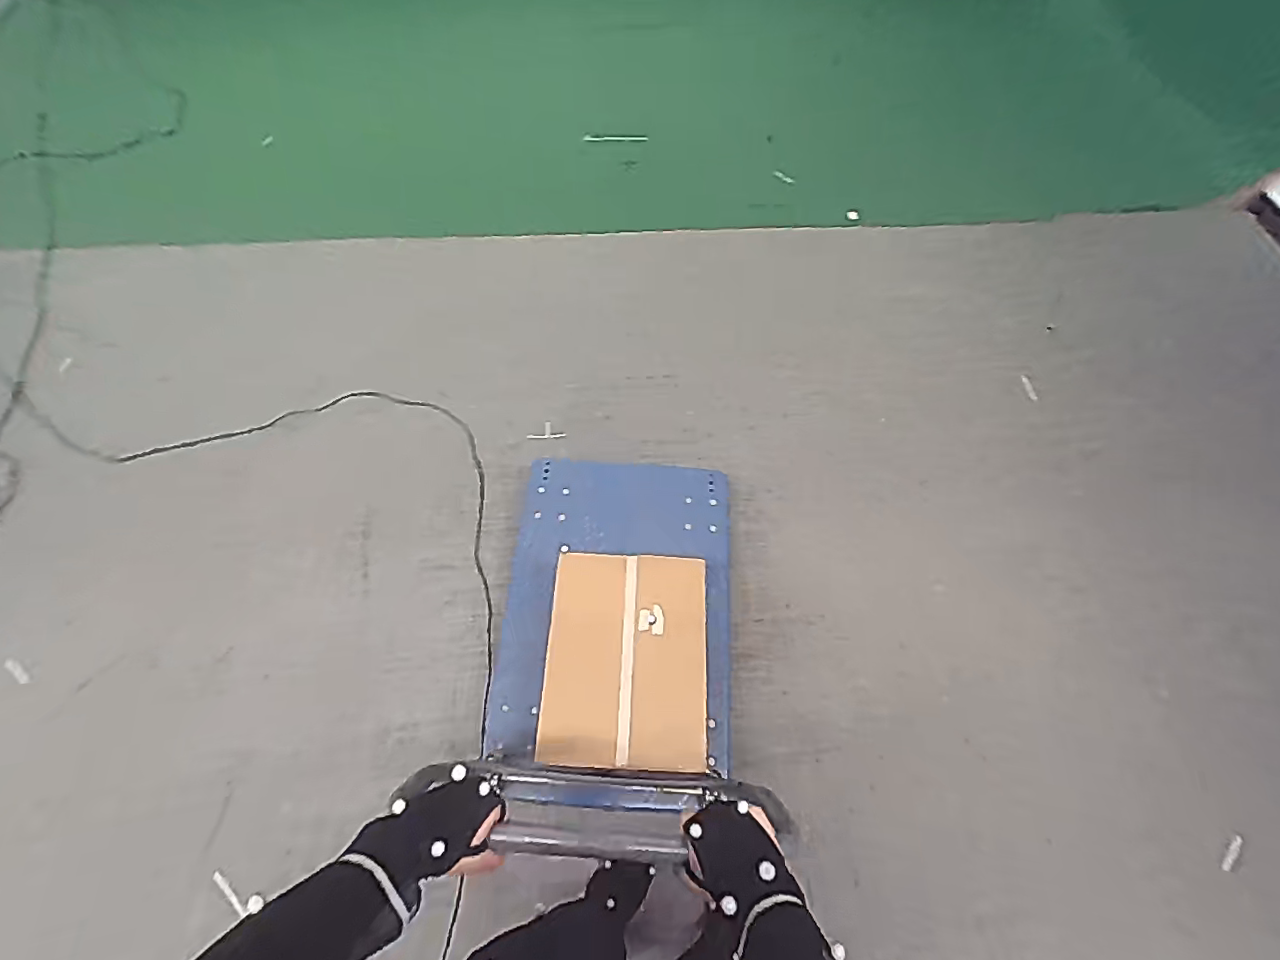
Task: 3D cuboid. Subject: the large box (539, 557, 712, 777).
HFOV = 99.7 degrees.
[{"bbox_3d":[-0.023,0.415,1.177,0.320,0.320,0.408,4,62,-1],"label":"large box"}]
